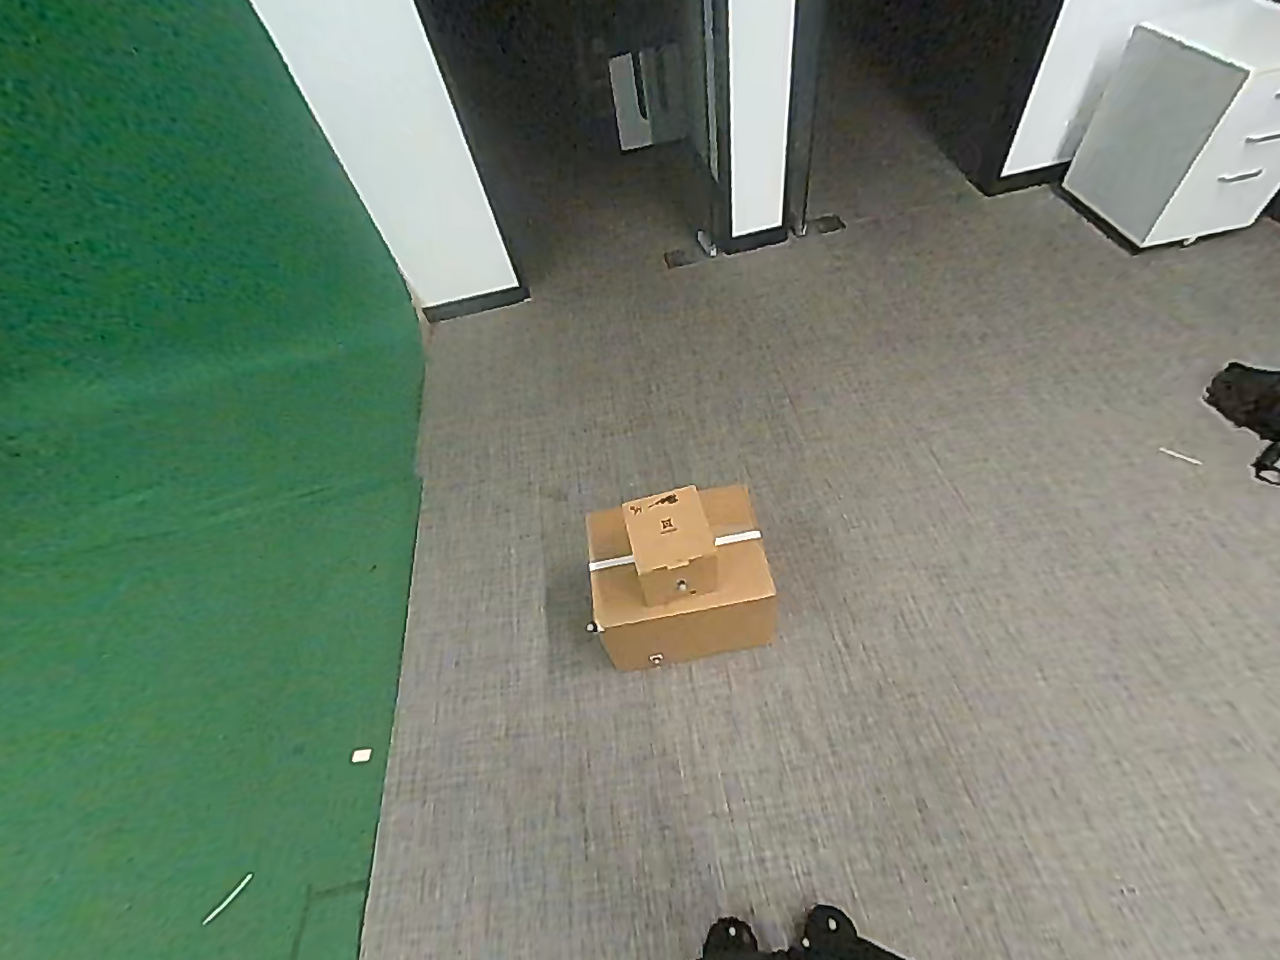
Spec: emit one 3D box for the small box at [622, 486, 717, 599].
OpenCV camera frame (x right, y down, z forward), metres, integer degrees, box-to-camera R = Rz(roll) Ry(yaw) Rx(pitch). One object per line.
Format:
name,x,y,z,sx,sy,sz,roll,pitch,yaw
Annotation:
small box,0.067,0.144,1.175,0.168,0.176,0.179,-14,54,0
